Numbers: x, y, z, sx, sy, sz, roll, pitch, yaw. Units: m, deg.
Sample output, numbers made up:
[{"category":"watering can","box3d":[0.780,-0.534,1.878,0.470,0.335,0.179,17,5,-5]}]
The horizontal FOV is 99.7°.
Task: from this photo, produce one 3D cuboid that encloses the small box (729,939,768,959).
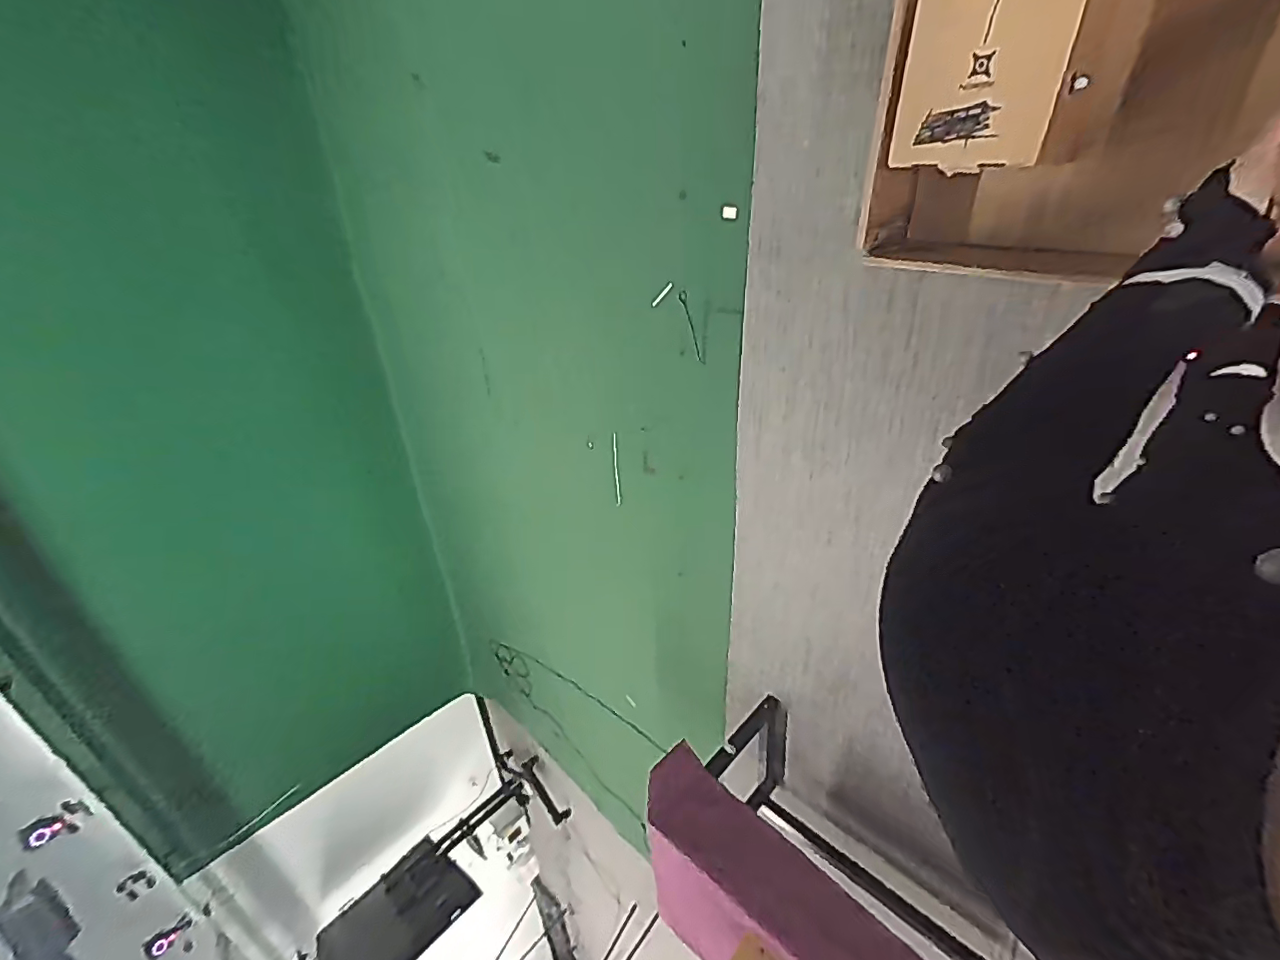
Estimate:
[{"category":"small box","box3d":[0.310,1.458,1.520,0.168,0.176,0.179,23,128,41]}]
